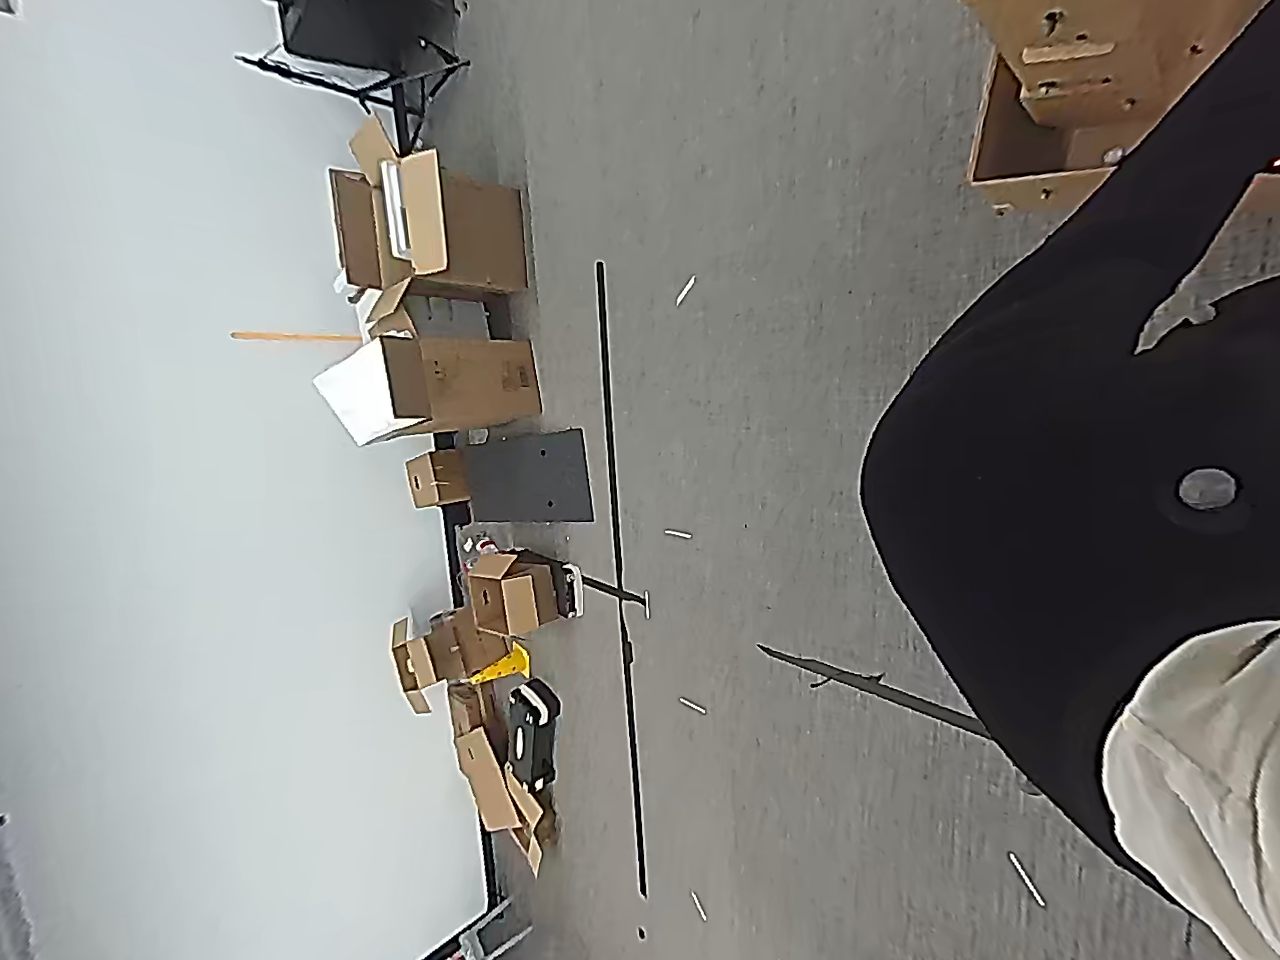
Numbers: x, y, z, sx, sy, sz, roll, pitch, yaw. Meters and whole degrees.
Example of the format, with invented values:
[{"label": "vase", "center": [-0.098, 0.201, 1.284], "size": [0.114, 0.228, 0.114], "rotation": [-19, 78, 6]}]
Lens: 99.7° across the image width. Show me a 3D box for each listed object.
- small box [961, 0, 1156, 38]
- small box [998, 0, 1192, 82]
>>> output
[{"label": "small box", "center": [0.491, -0.619, 0.593], "size": [0.168, 0.176, 0.179], "rotation": [33, 121, 38]}, {"label": "small box", "center": [0.610, -0.647, 0.703], "size": [0.168, 0.176, 0.179], "rotation": [29, 117, 40]}]
